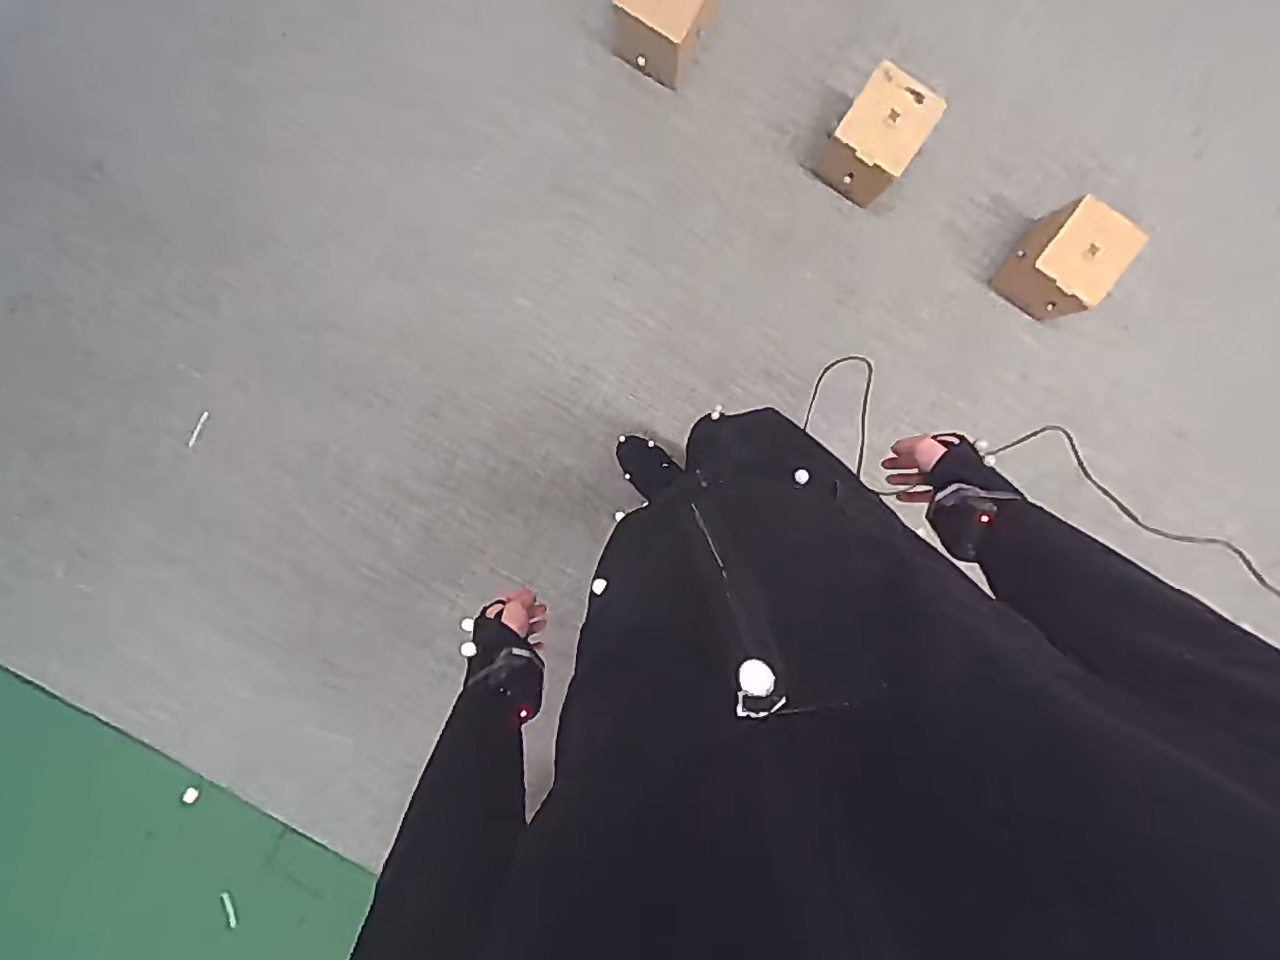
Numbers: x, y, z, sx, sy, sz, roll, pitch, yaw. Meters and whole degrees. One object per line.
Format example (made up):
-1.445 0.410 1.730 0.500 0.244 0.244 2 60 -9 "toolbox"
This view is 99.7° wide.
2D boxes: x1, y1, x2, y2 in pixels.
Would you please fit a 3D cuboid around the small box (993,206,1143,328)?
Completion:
0.945 -0.467 1.218 0.168 0.176 0.179 32 96 -2 "small box"

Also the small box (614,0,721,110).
0.058 -0.978 1.191 0.168 0.176 0.179 31 98 -1 "small box"

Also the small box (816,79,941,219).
0.515 -0.722 1.205 0.168 0.176 0.179 33 98 -2 "small box"
